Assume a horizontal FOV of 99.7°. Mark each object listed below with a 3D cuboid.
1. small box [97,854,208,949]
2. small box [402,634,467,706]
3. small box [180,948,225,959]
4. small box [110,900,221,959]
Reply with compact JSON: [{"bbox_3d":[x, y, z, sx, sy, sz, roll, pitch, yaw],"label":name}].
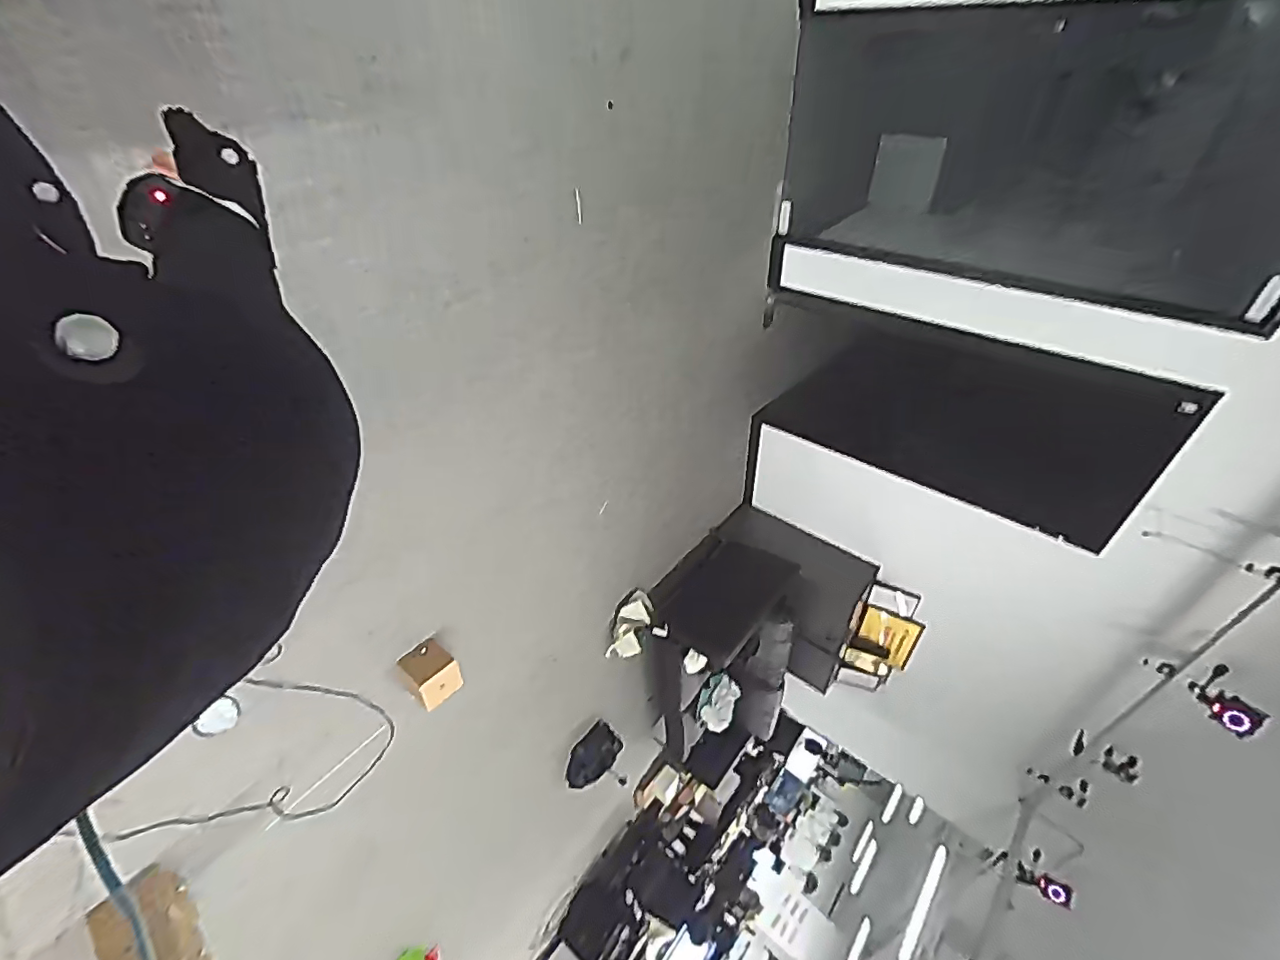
[{"bbox_3d":[-1.460,1.276,1.619,0.179,0.176,0.168,-37,141,-35],"label":"small box"},{"bbox_3d":[-0.816,0.748,2.149,0.168,0.176,0.179,-35,140,-39],"label":"small box"},{"bbox_3d":[-1.216,1.419,1.454,0.168,0.176,0.179,-36,140,-35],"label":"small box"},{"bbox_3d":[-1.340,1.346,1.531,0.168,0.176,0.179,-36,140,-36],"label":"small box"}]
